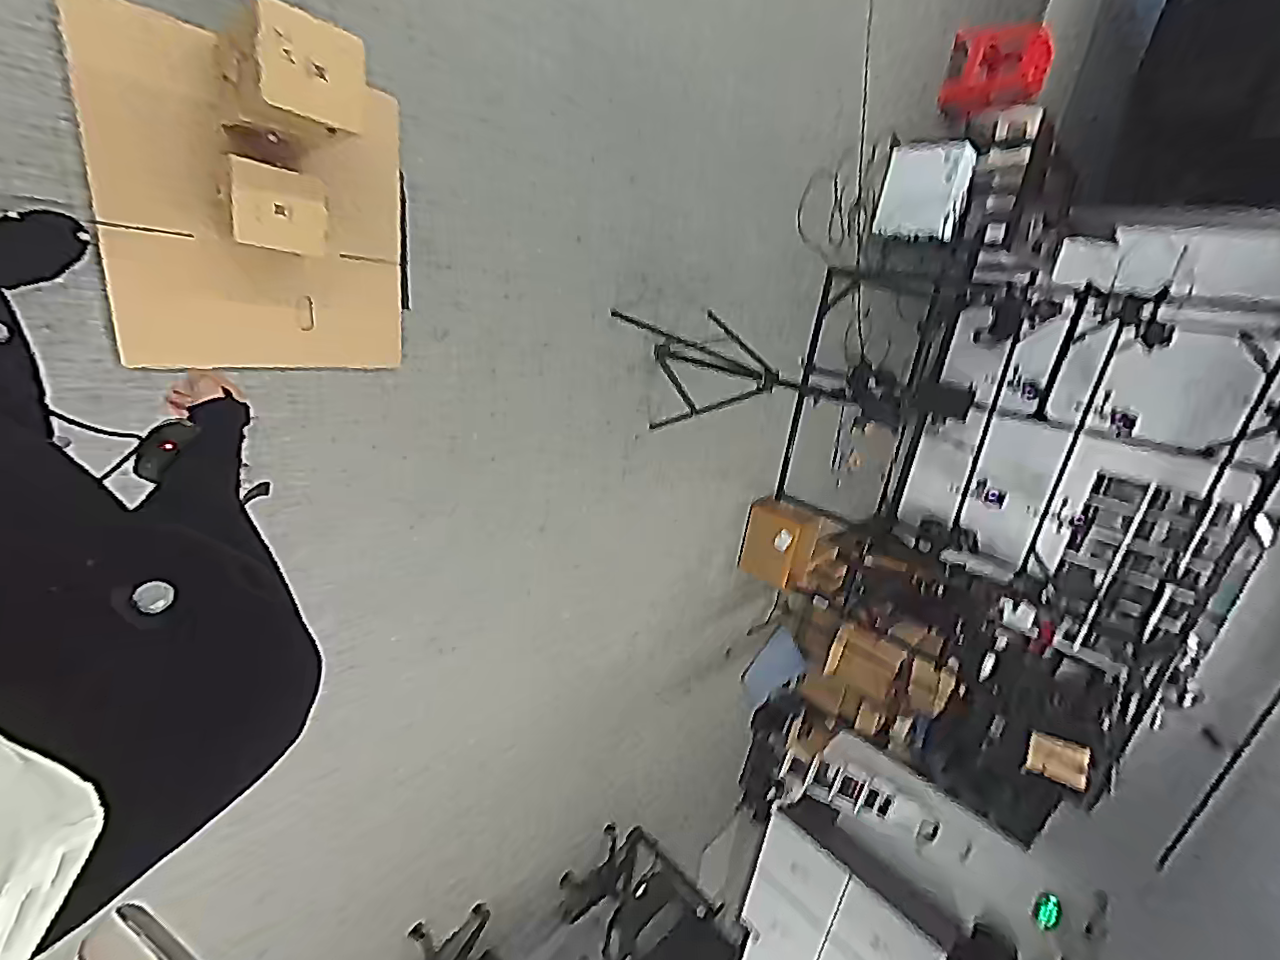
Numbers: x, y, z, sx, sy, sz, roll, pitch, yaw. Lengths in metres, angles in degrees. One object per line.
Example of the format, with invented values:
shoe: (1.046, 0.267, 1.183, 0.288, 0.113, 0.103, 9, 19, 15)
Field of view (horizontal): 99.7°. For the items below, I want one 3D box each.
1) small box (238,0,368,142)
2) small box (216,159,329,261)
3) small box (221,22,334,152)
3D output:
small box: (-0.649, -0.772, 1.043, 0.179, 0.176, 0.168, -7, 113, -45)
small box: (-0.819, -0.598, 1.206, 0.179, 0.176, 0.168, -6, 114, -46)
small box: (-0.771, -0.816, 1.147, 0.179, 0.176, 0.168, -8, 114, -44)
